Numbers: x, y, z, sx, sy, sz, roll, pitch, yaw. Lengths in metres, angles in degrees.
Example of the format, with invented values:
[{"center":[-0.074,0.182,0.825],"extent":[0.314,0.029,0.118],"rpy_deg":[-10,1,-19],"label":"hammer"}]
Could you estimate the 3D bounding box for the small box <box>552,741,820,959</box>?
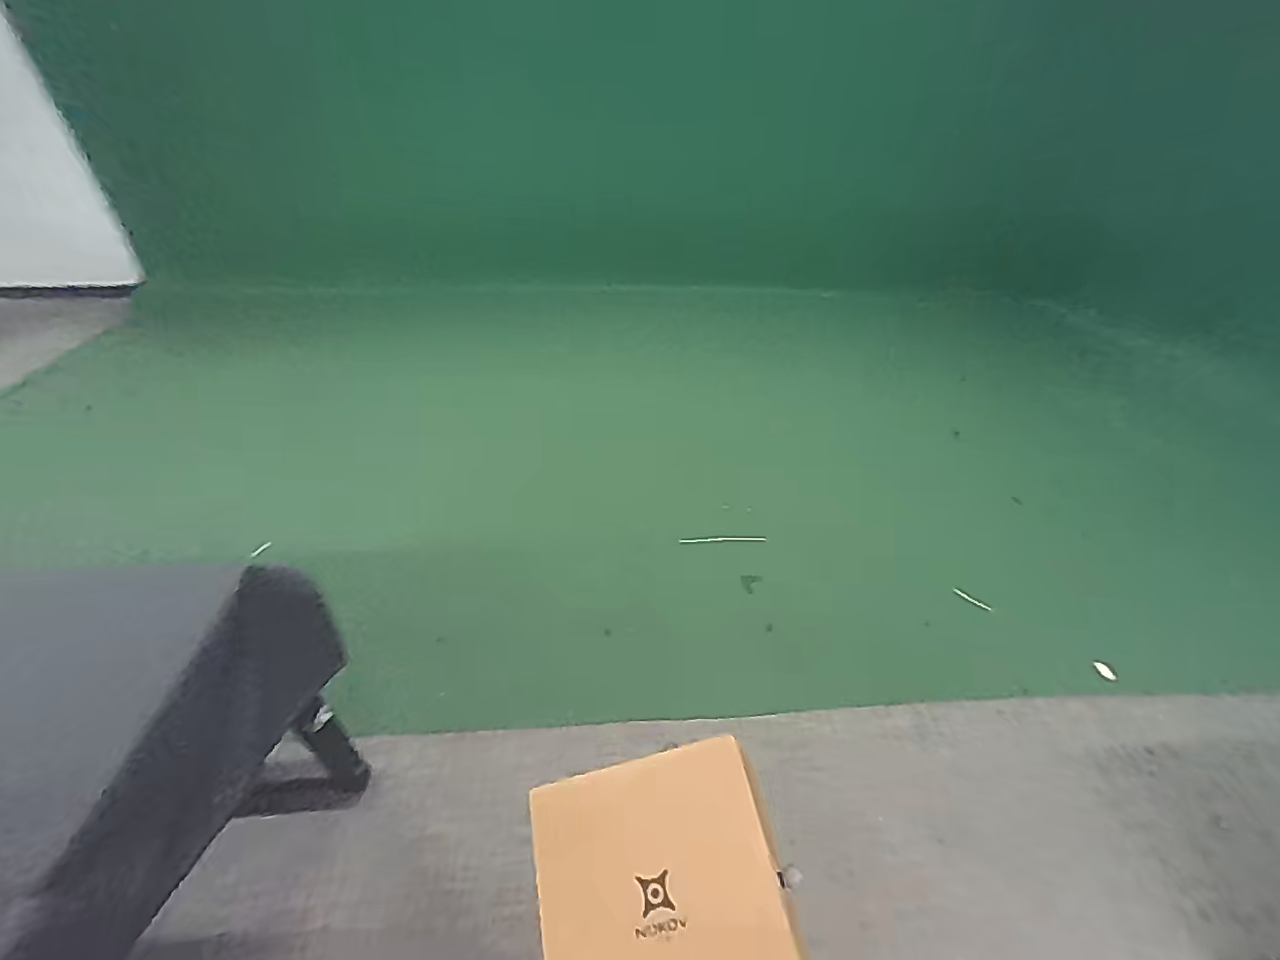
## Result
[{"center":[0.040,0.328,0.427],"extent":[0.168,0.176,0.179],"rpy_deg":[-16,56,3],"label":"small box"}]
